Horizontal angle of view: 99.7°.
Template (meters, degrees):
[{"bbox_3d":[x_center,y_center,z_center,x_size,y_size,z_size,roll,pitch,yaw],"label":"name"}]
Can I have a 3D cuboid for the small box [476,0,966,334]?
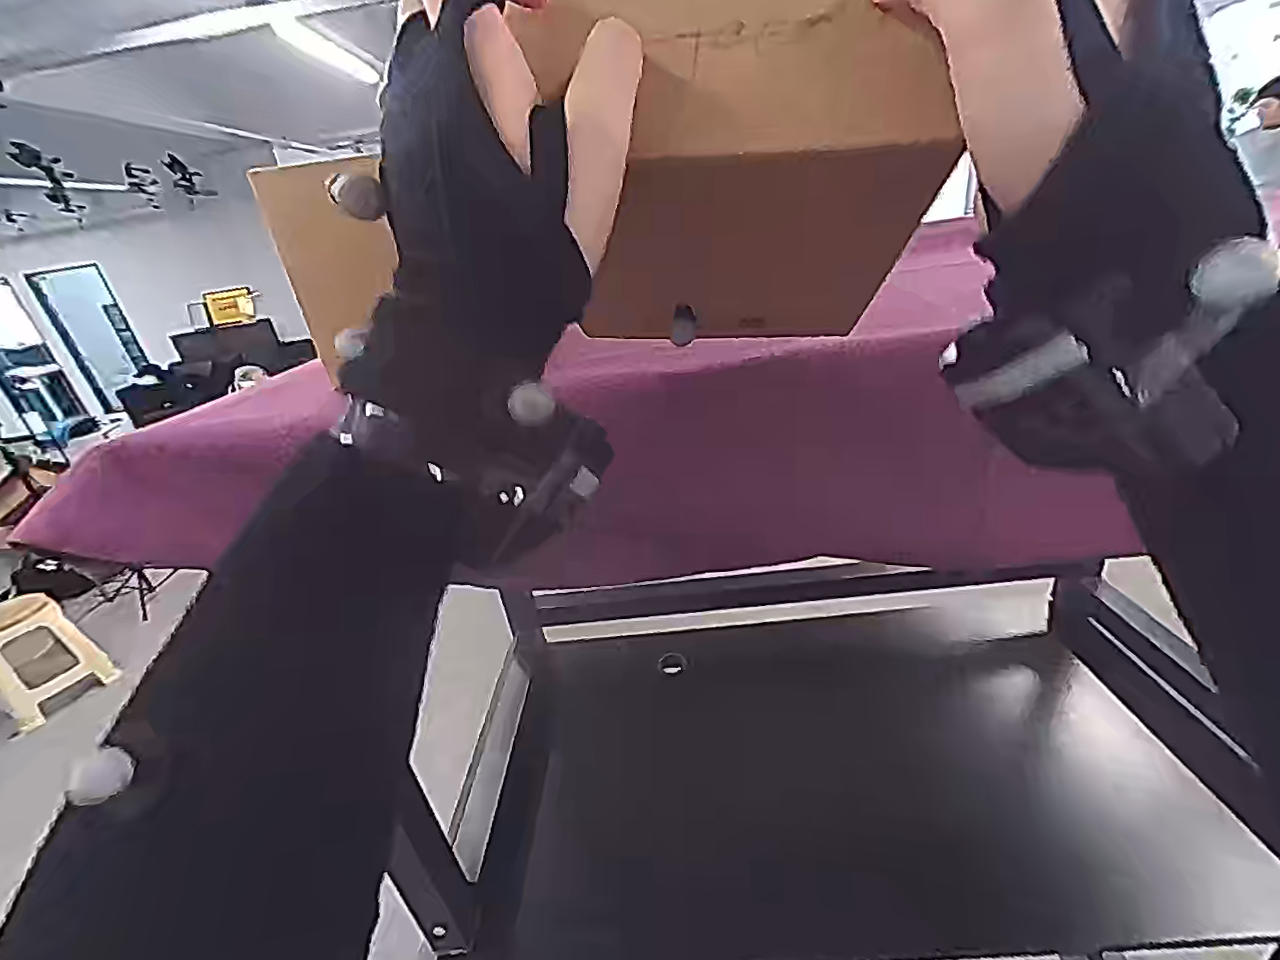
[{"bbox_3d":[0.036,-0.190,0.272,0.168,0.179,0.176,0,-8,8],"label":"small box"}]
